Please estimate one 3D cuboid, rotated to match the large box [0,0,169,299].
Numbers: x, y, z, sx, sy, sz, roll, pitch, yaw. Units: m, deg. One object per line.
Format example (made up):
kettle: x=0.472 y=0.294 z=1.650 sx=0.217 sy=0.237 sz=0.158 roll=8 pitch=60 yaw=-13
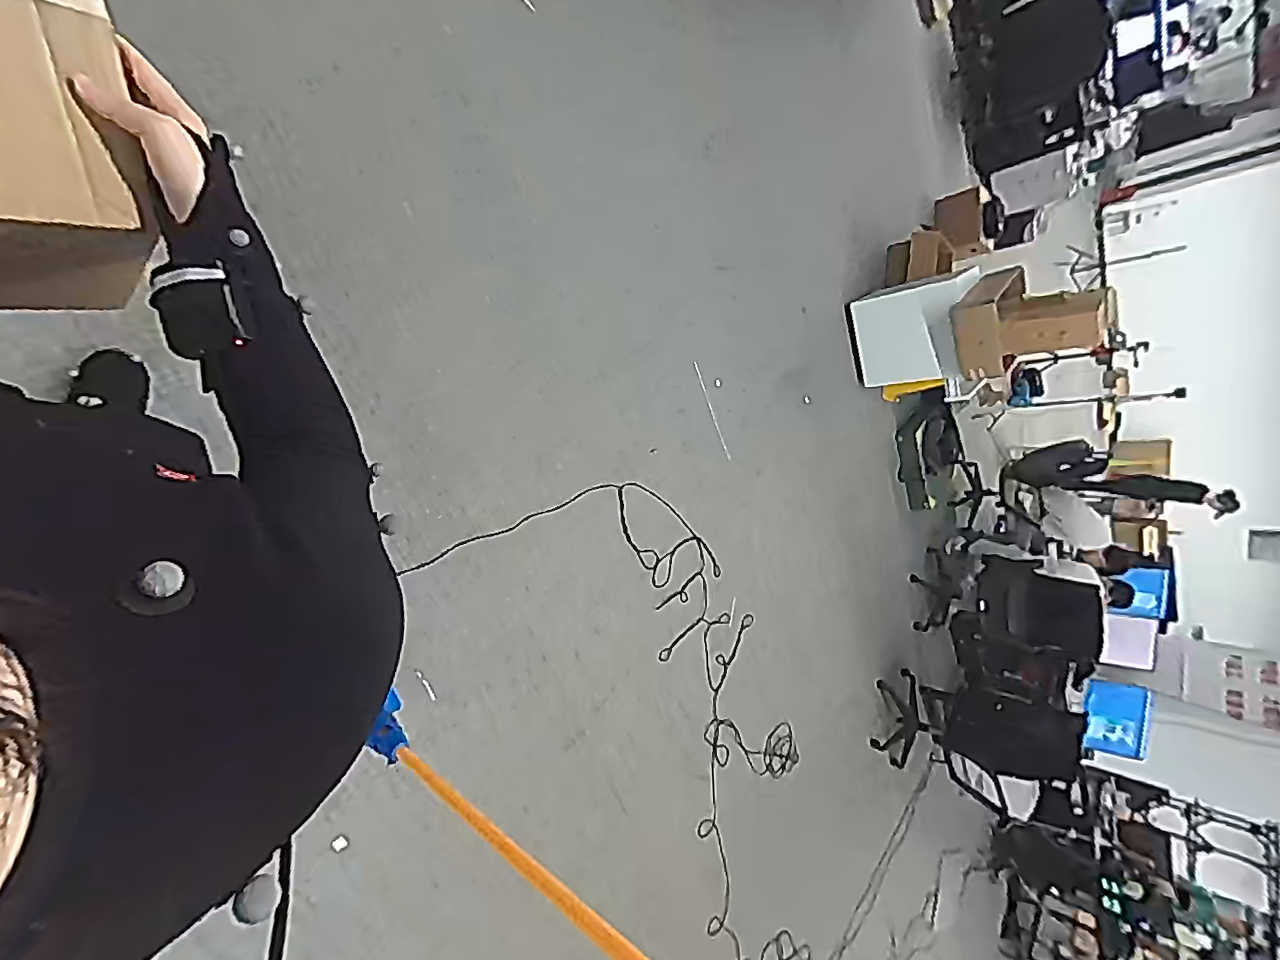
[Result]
large box: x=-0.635 y=-0.309 z=0.356 sx=0.408 sy=0.320 sz=0.320 roll=-19 pitch=106 yaw=-47
